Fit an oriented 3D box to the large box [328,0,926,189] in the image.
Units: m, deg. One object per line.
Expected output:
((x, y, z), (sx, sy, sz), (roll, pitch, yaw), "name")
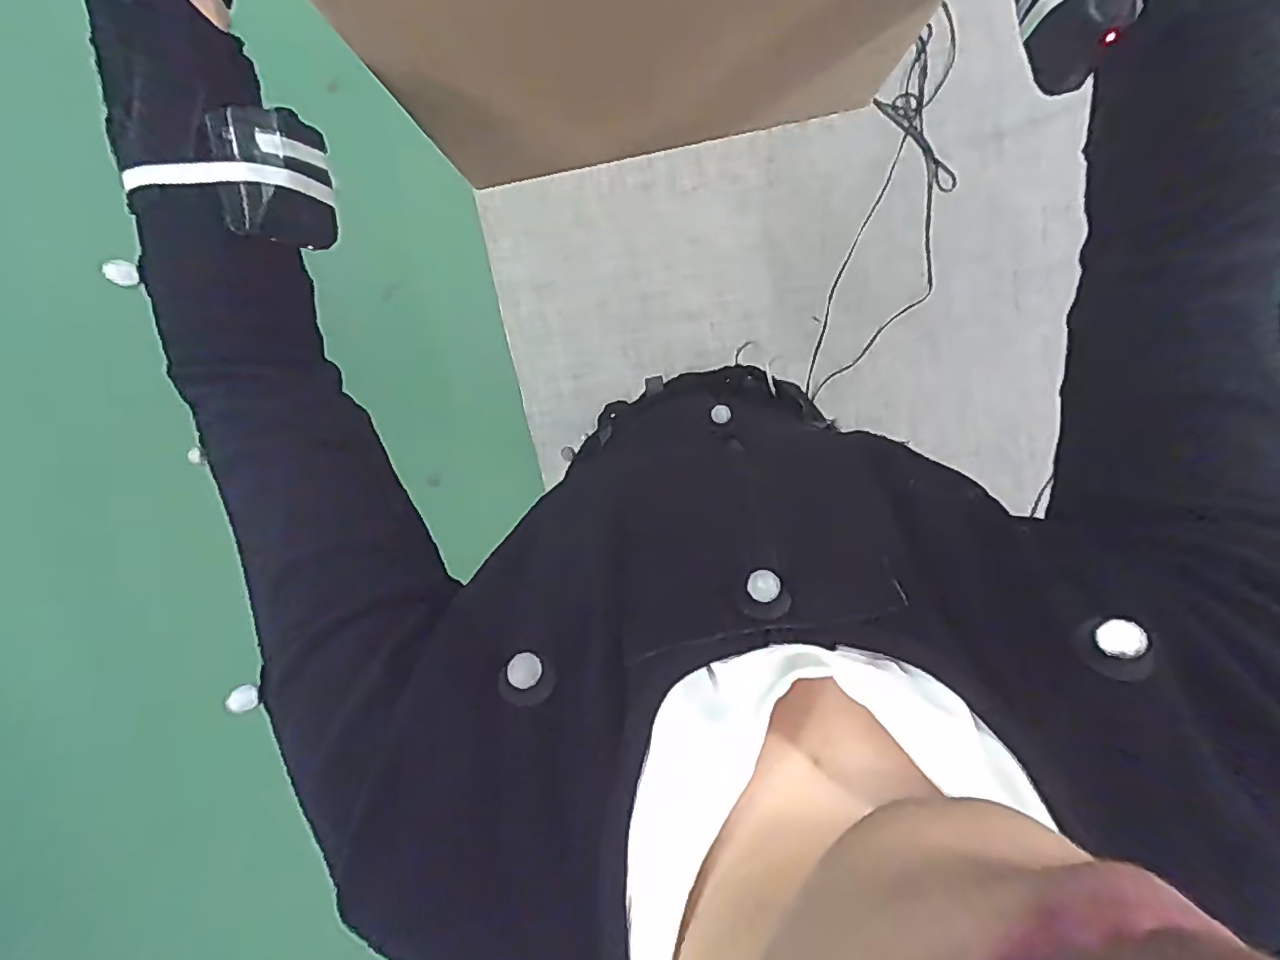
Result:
((-0.009, -0.459, 0.375), (0.408, 0.320, 0.320), (-11, 98, 3), "large box")
